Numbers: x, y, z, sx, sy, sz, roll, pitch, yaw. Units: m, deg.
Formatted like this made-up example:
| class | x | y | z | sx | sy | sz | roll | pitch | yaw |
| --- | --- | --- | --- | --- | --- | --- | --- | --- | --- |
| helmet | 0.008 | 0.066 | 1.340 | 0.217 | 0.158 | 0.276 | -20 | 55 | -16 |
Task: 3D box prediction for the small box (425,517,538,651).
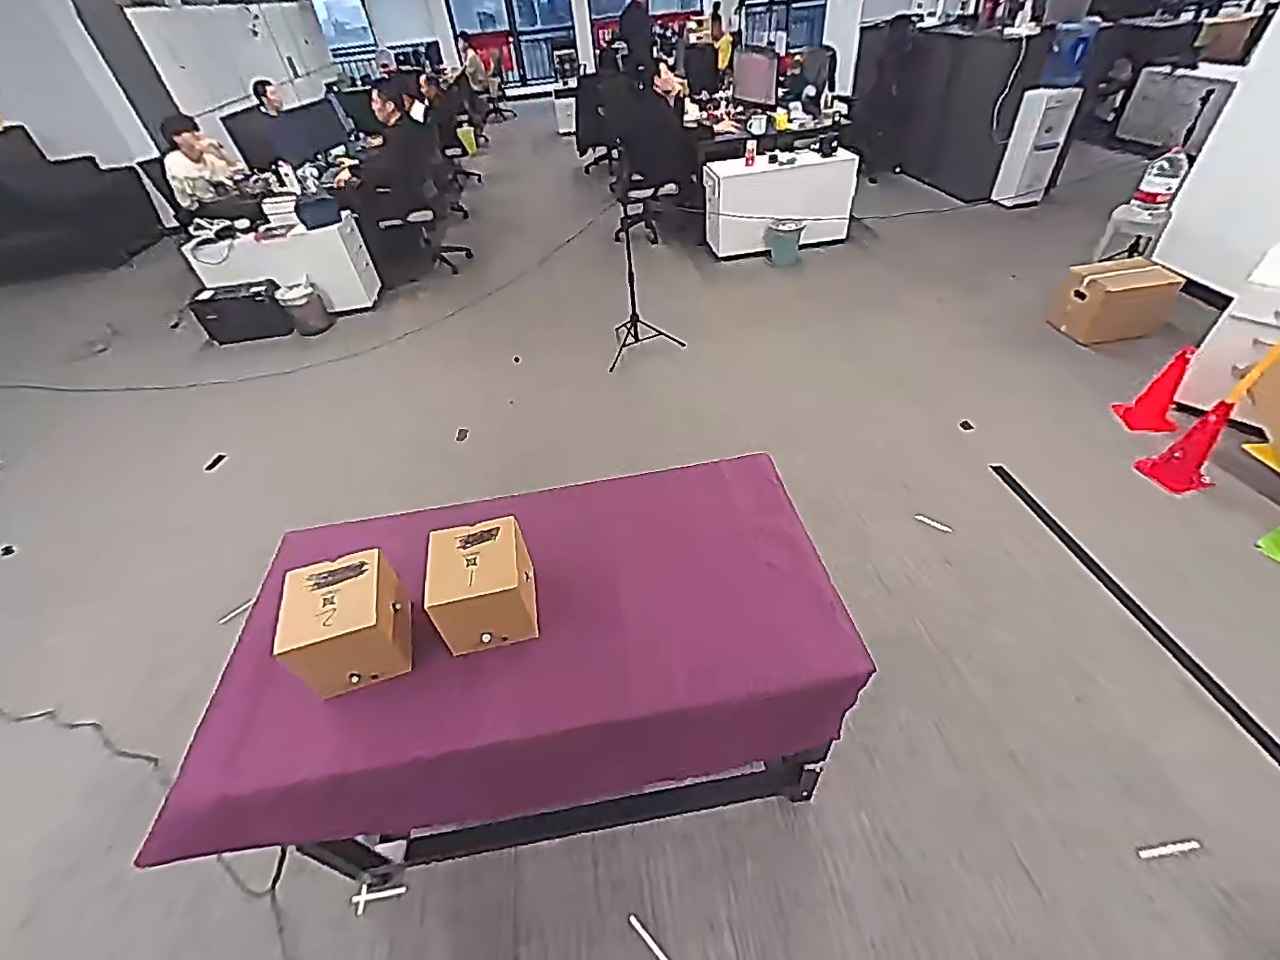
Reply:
| class | x | y | z | sx | sy | sz | roll | pitch | yaw |
| --- | --- | --- | --- | --- | --- | --- | --- | --- | --- |
| small box | -0.299 | 0.202 | 1.050 | 0.168 | 0.176 | 0.179 | -11 | 44 | -5 |
